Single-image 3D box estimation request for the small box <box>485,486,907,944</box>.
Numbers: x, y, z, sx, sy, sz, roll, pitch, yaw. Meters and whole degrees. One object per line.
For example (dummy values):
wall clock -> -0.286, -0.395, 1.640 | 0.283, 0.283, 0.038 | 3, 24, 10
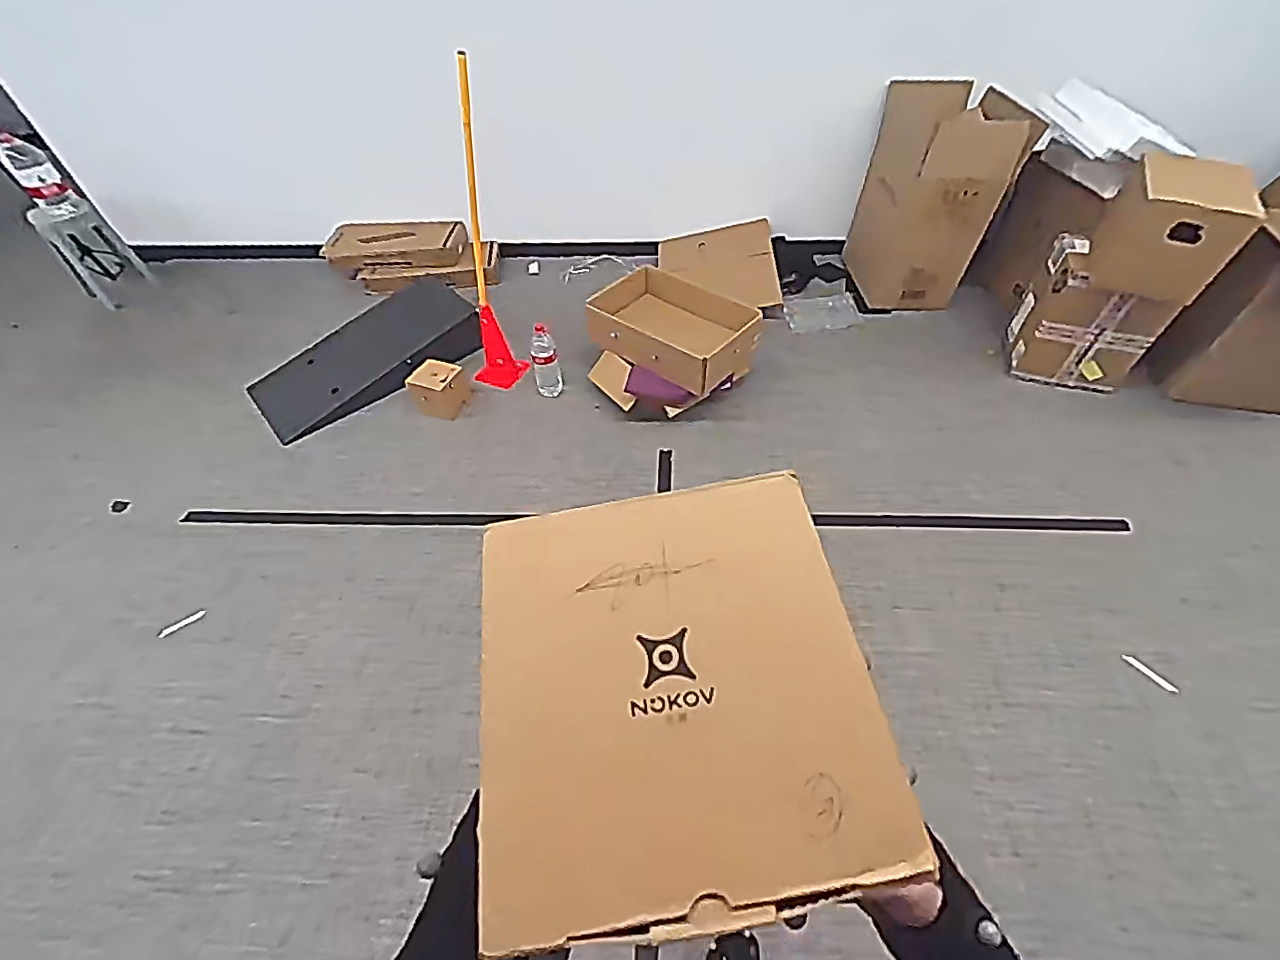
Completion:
small box -> 0.018, 0.131, 0.314 | 0.168, 0.176, 0.179 | -10, 56, -1
